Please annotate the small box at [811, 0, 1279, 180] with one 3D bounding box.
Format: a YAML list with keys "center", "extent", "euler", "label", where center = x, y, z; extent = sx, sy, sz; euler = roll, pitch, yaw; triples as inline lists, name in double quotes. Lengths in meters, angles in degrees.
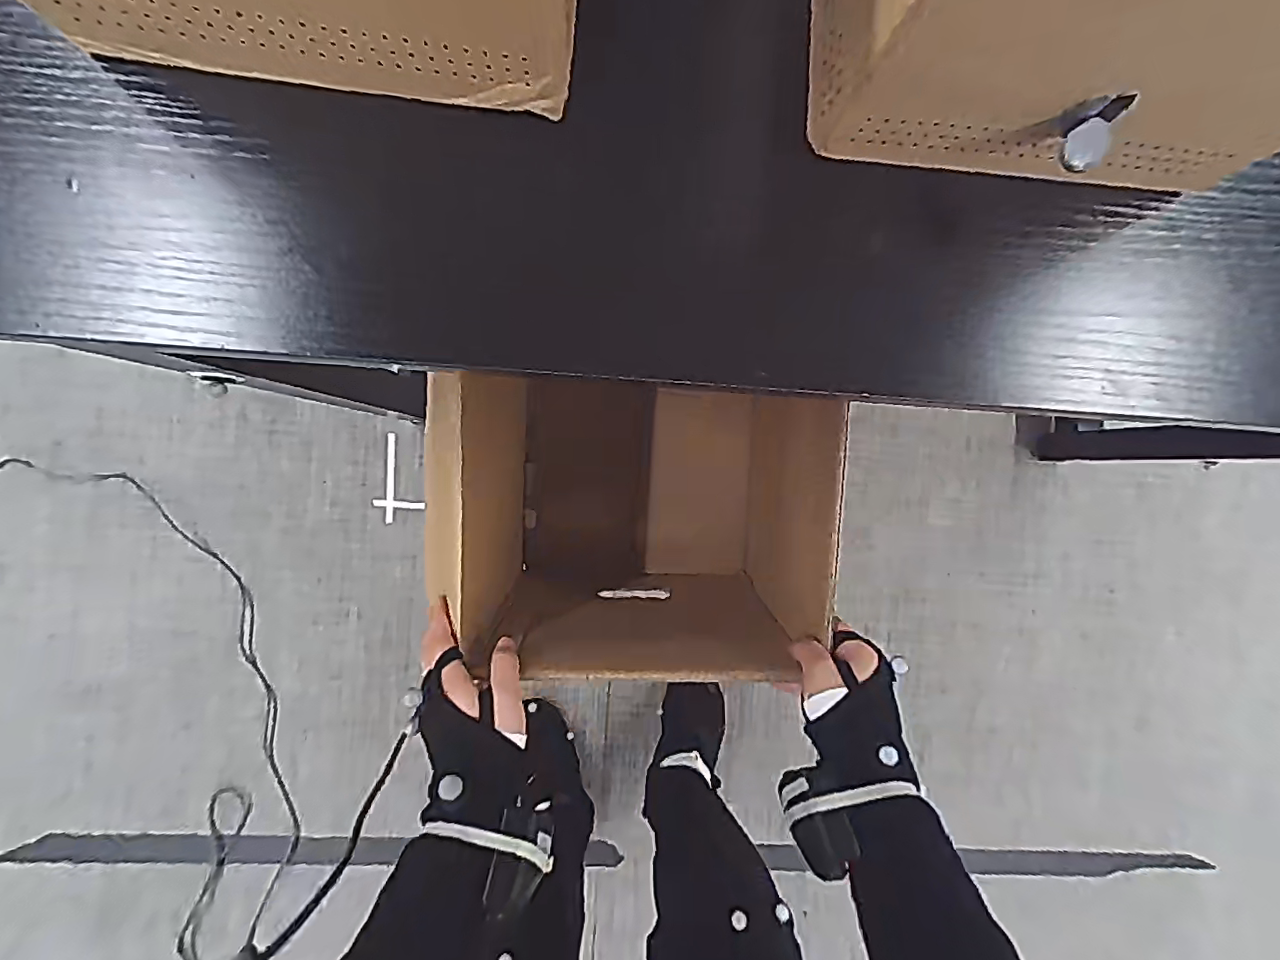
- center: [0.168, -0.208, 0.145]
  extent: [0.179, 0.176, 0.168]
  euler: [2, 91, -6]
  label: "small box"

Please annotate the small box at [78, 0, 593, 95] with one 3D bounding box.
- center: [-0.093, -0.226, 0.119]
  extent: [0.179, 0.176, 0.168]
  euler: [4, 92, -7]
  label: "small box"
